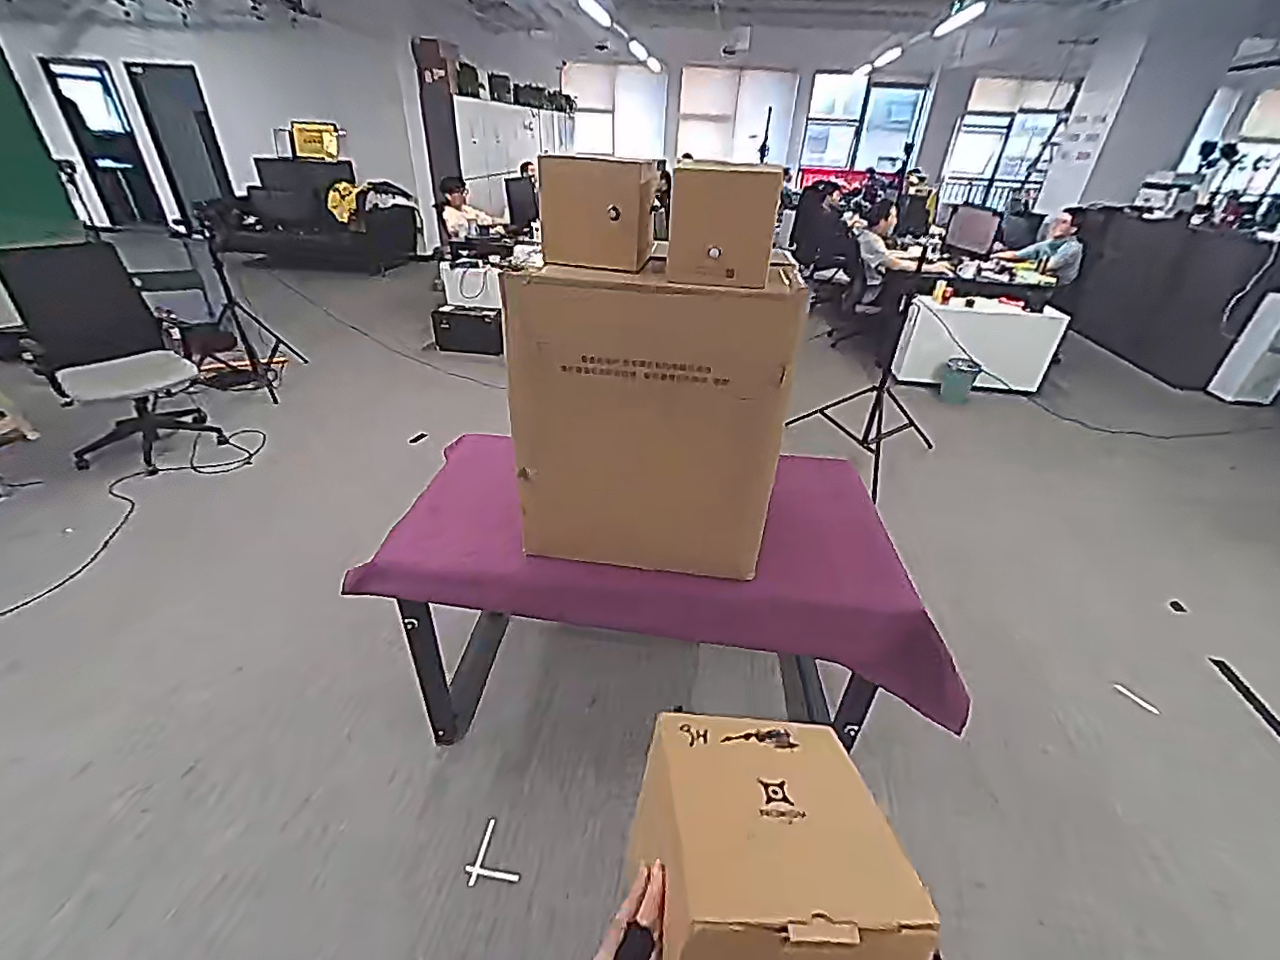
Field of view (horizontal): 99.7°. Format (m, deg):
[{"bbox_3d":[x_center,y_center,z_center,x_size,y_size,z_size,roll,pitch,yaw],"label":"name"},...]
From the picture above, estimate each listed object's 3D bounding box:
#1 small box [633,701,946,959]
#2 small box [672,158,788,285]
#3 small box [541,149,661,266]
[{"bbox_3d":[0.091,0.309,0.425,0.168,0.176,0.179,10,17,-7],"label":"small box"},{"bbox_3d":[0.147,-0.436,0.904,0.168,0.176,0.179,7,33,8],"label":"small box"},{"bbox_3d":[-0.065,-0.487,0.967,0.179,0.176,0.168,7,32,7],"label":"small box"}]
